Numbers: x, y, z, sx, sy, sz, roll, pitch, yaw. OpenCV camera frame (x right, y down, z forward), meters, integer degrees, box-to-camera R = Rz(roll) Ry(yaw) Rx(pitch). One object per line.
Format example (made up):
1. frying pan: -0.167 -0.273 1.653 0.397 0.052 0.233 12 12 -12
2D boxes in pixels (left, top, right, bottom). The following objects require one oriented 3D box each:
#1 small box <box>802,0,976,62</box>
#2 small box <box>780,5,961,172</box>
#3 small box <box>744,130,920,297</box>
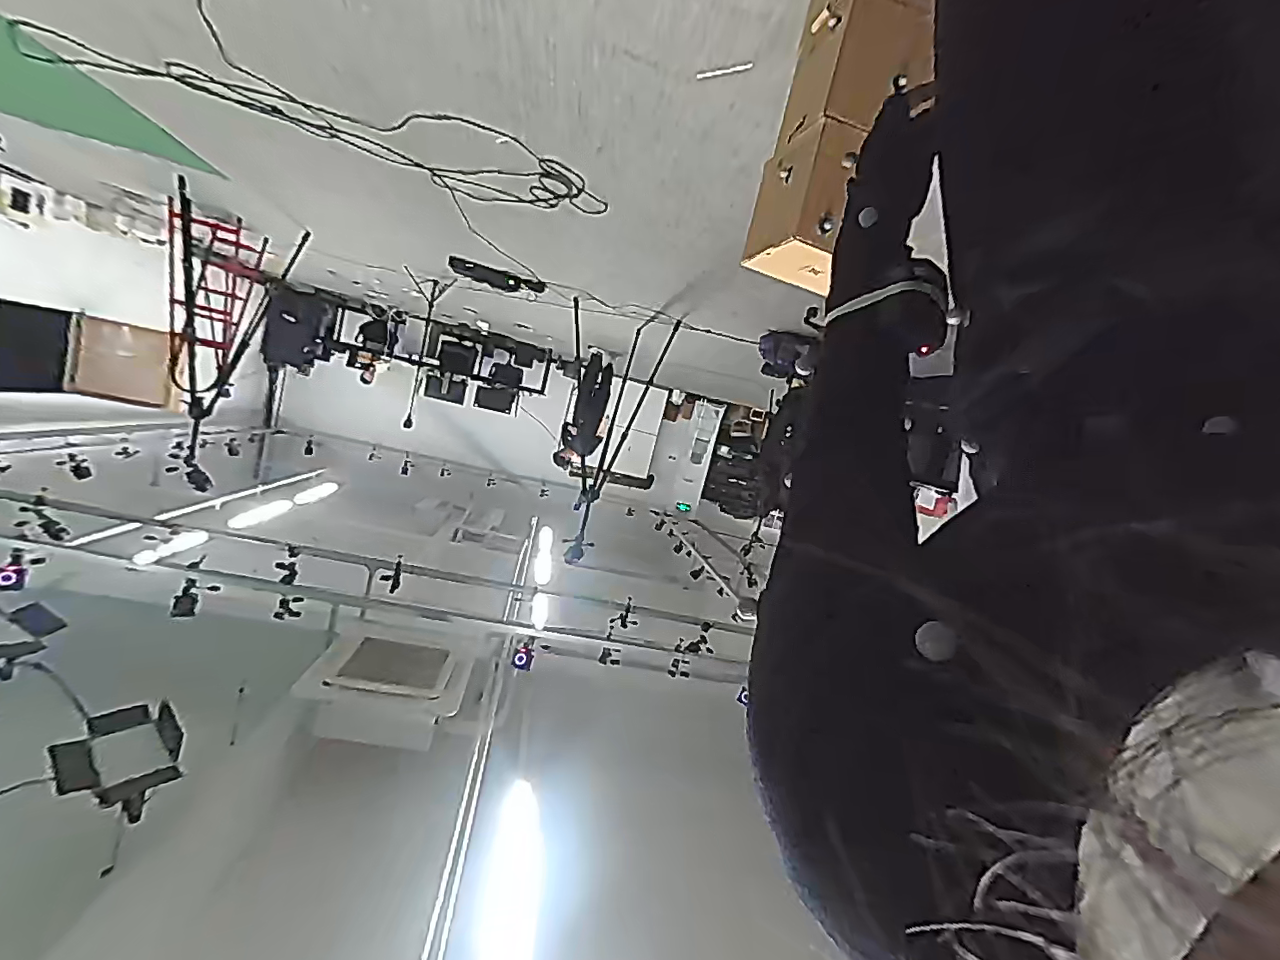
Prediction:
1. small box: 0.375 -0.719 0.796 0.179 0.176 0.168 15 -171 -10
2. small box: 0.338 -0.558 0.818 0.179 0.176 0.168 12 -174 -13
3. small box: 0.295 -0.403 0.842 0.179 0.176 0.168 13 -174 -18
